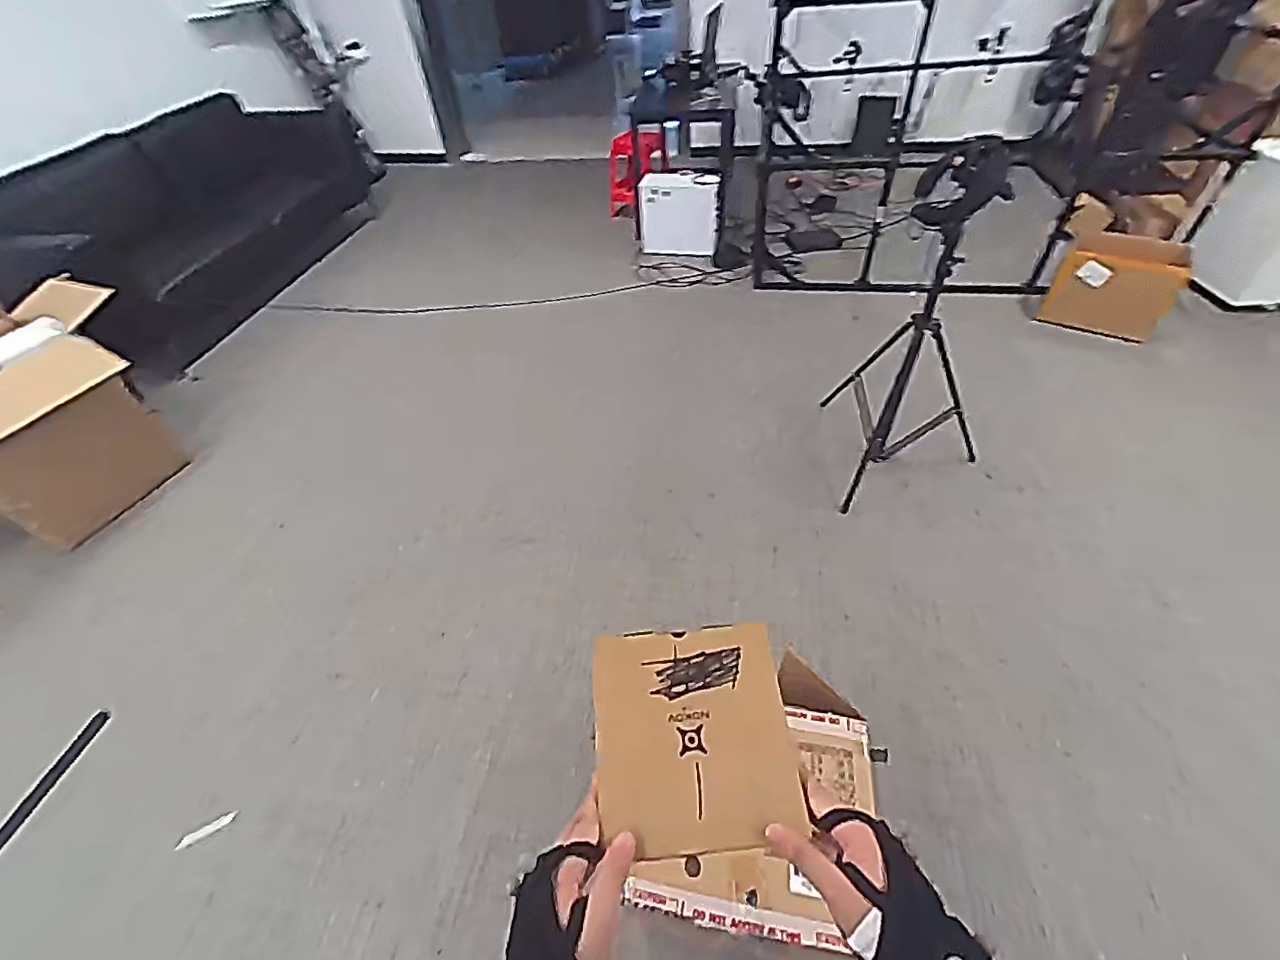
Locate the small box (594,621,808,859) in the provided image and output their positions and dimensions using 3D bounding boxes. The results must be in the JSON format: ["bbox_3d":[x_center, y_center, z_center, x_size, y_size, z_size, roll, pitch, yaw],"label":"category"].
[{"bbox_3d":[0.044,0.258,0.532,0.168,0.176,0.179,-5,55,-3],"label":"small box"}]
